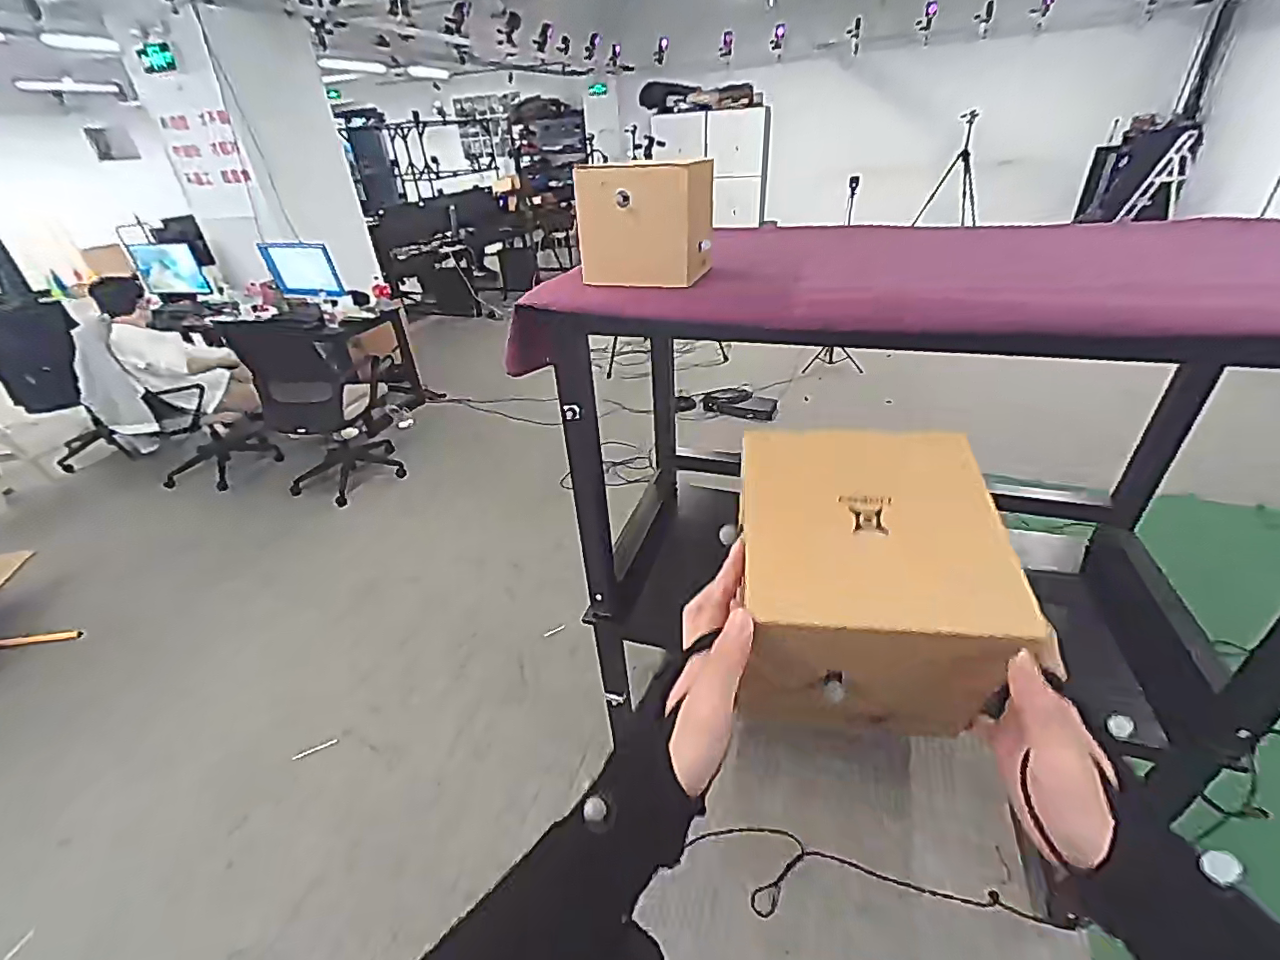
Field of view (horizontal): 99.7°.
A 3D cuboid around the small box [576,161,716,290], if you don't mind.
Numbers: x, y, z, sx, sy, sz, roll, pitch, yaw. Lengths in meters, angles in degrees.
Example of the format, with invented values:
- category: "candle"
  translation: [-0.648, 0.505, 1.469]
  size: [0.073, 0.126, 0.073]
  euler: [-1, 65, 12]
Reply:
- category: "small box"
  translation: [0.017, -0.407, 0.864]
  size: [0.179, 0.176, 0.168]
  euler: [9, 34, 18]

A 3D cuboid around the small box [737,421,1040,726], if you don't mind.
- category: "small box"
  translation: [0.163, 0.073, 0.424]
  size: [0.168, 0.176, 0.179]
  euler: [1, 46, 9]
